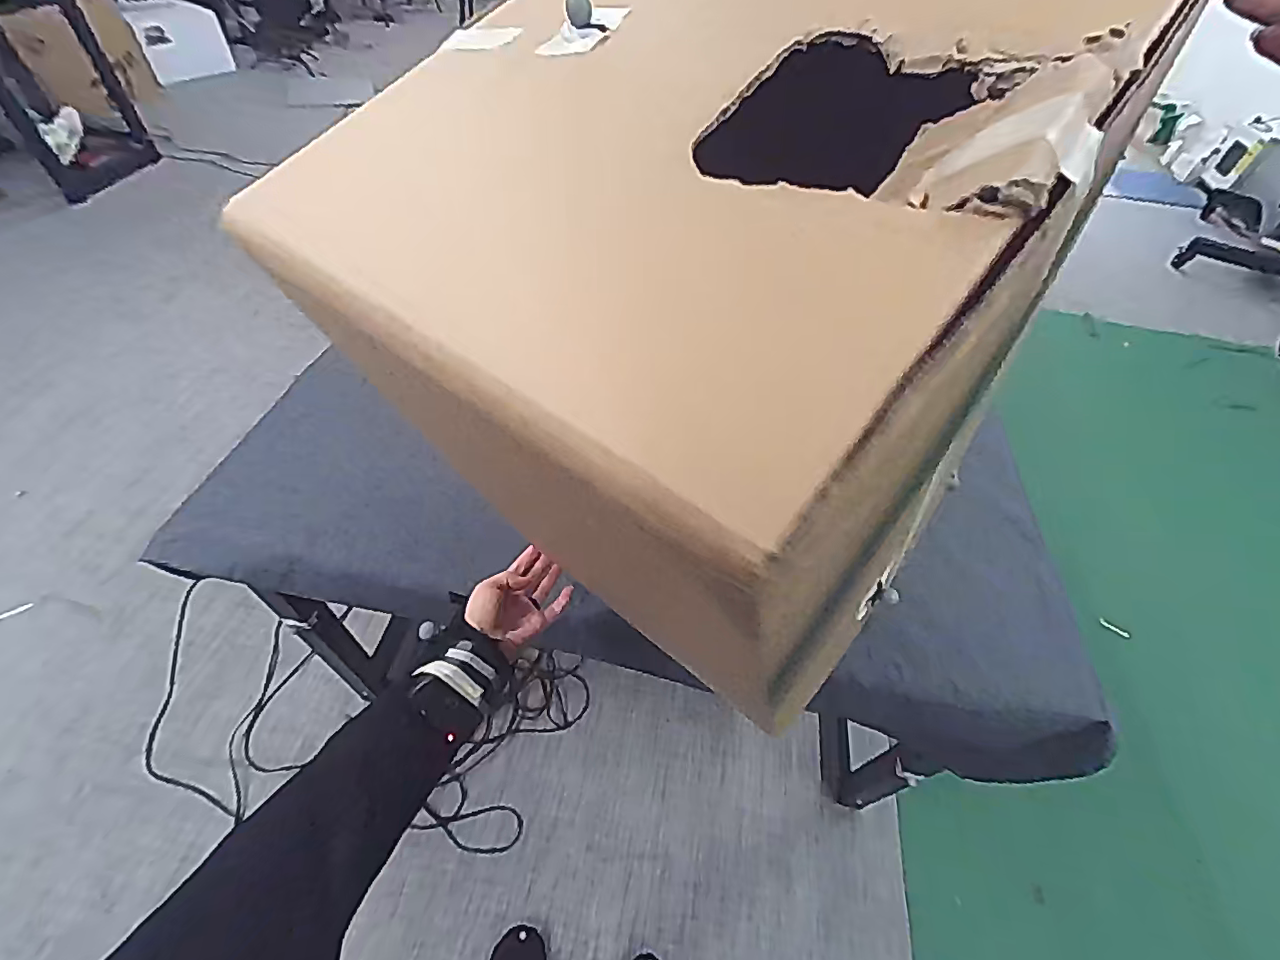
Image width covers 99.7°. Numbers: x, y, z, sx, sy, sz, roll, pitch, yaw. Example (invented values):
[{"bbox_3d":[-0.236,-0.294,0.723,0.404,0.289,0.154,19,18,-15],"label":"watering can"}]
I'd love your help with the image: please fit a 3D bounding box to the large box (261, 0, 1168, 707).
[{"bbox_3d":[0.051,-0.074,0.409,0.320,0.408,0.320,32,73,26],"label":"large box"}]
